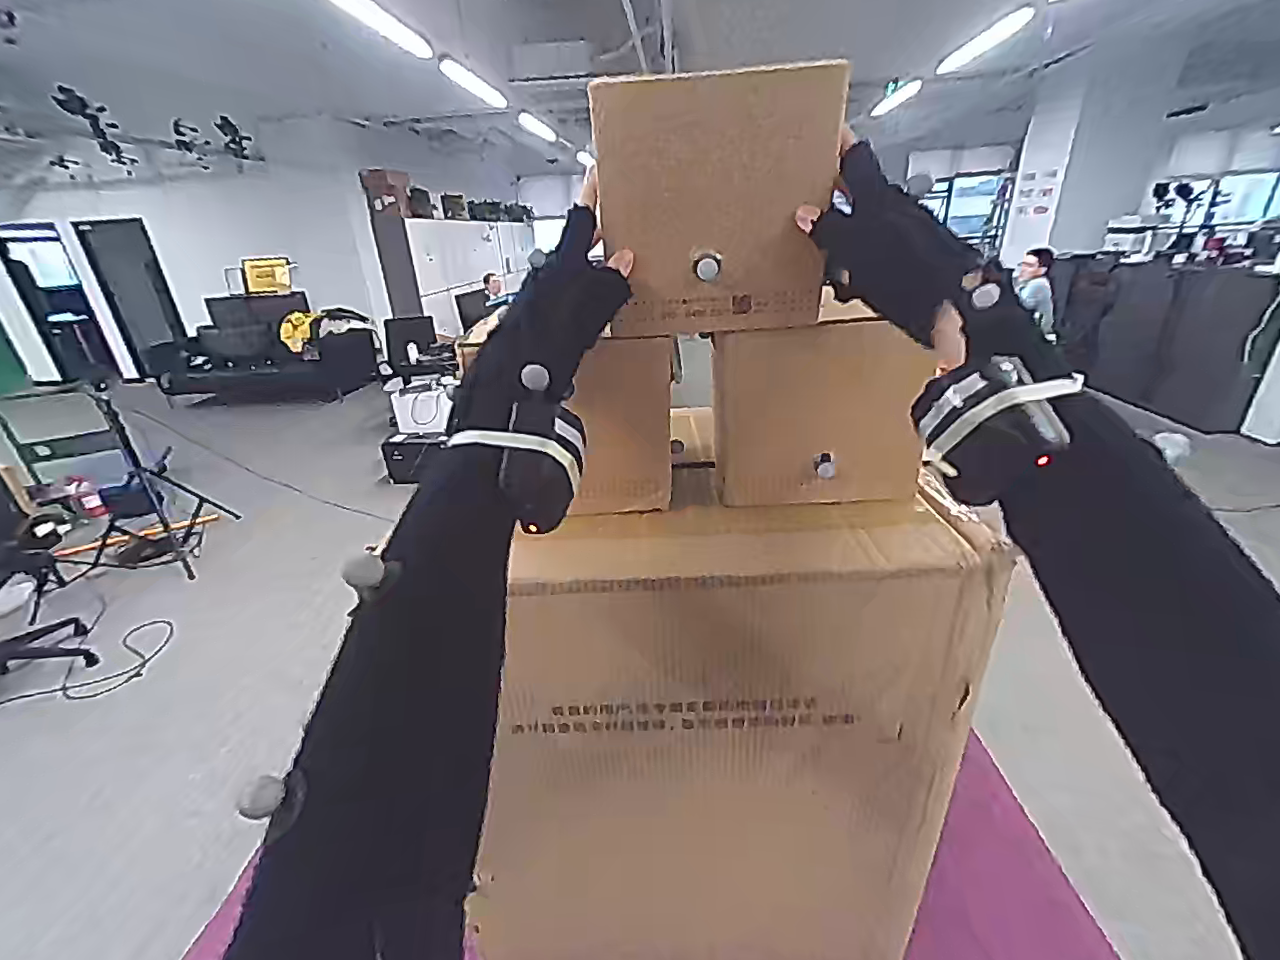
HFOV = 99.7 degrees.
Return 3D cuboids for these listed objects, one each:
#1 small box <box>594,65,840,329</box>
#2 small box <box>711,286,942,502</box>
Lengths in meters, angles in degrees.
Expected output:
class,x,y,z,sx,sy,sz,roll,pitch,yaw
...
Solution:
class,x,y,z,sx,sy,sz,roll,pitch,yaw
small box,0.057,-0.234,0.466,0.168,0.176,0.179,-3,29,3
small box,0.163,-0.089,0.539,0.179,0.176,0.168,-4,26,4
